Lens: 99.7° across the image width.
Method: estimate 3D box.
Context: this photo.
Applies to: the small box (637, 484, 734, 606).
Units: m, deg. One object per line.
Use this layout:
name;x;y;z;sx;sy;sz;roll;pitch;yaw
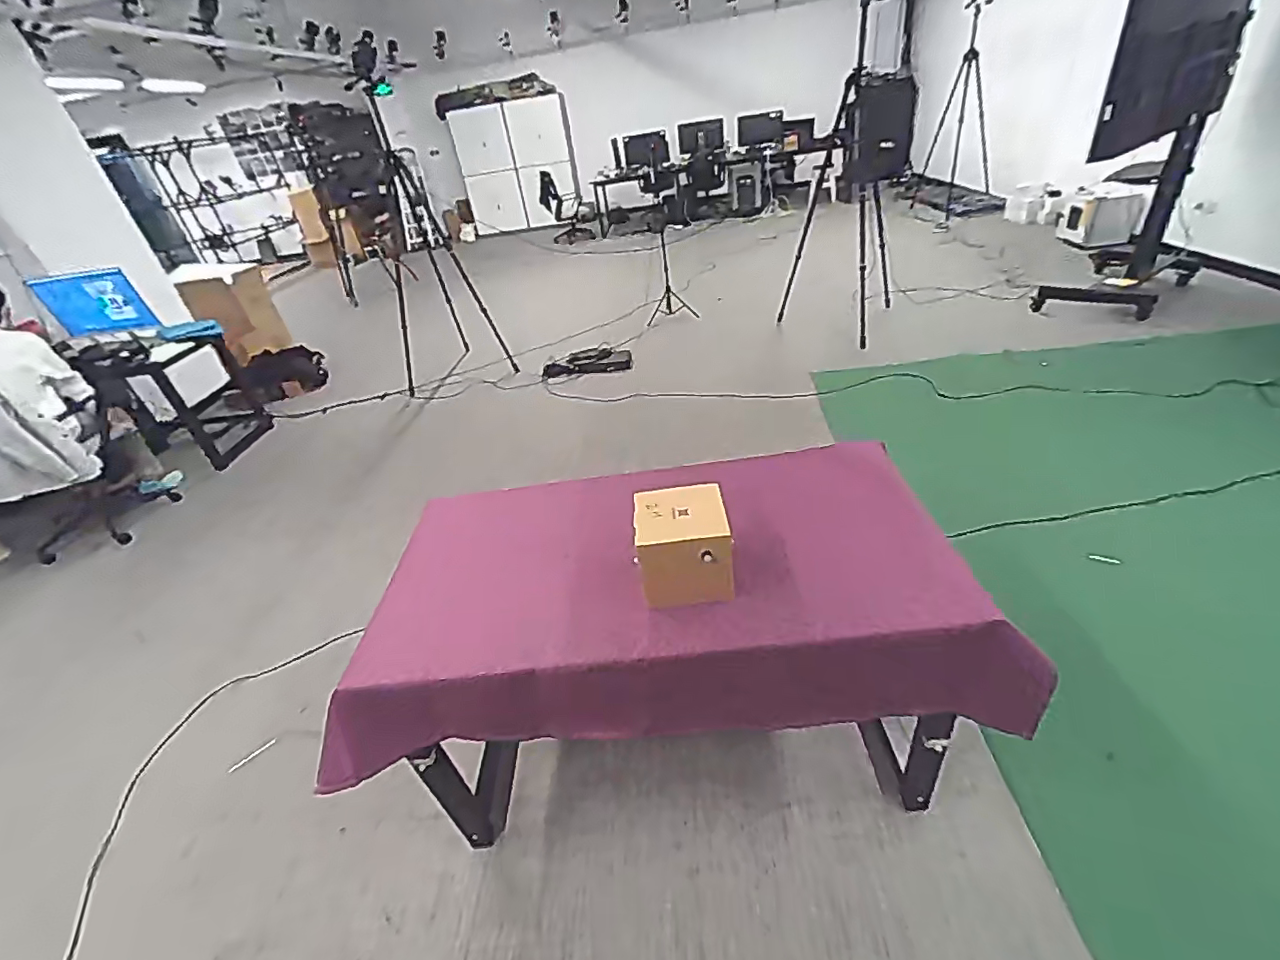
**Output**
small box;0.091;0.130;1.077;0.179;0.176;0.168;-8;34;4
